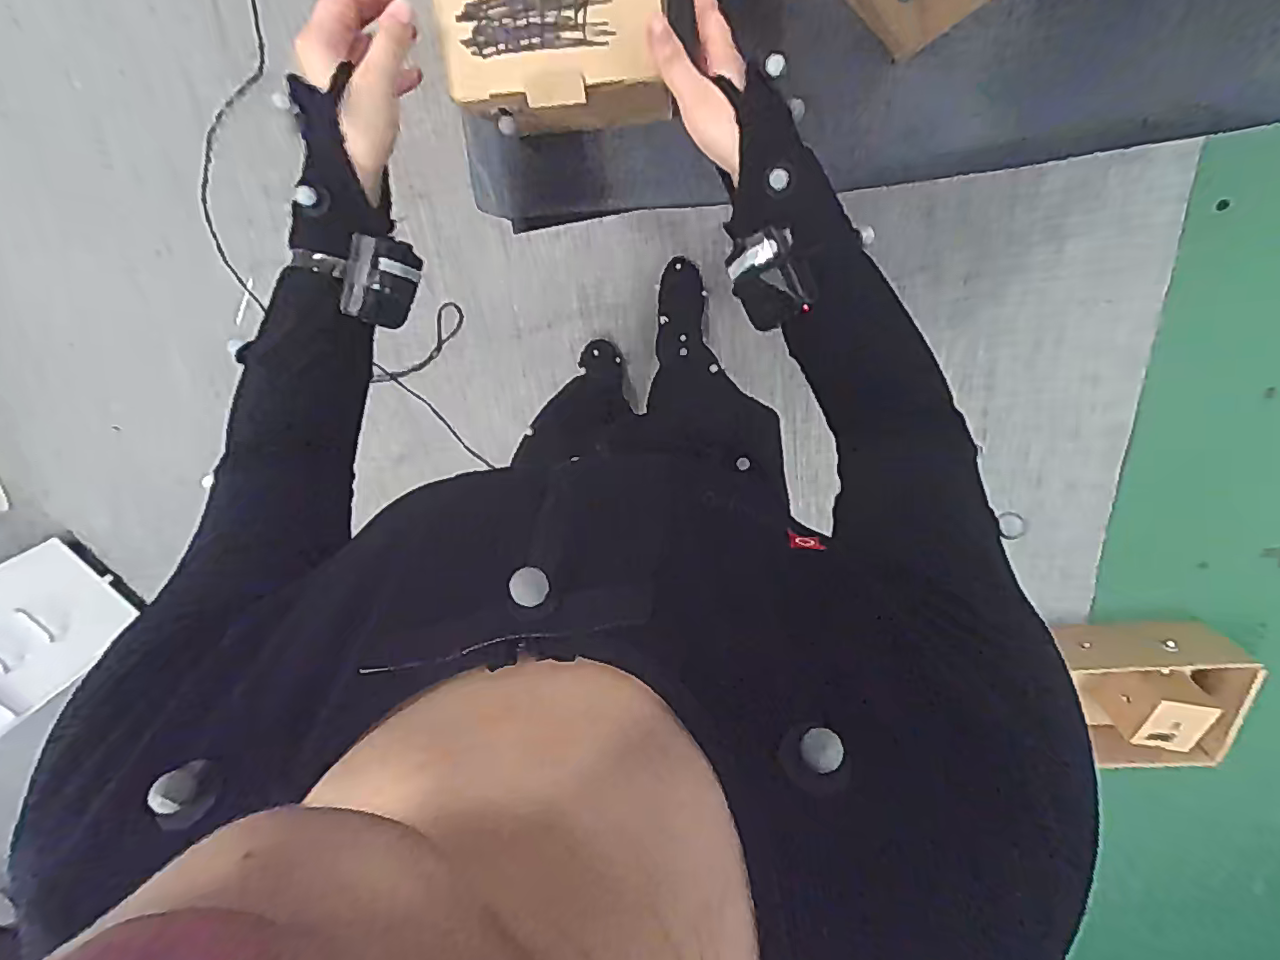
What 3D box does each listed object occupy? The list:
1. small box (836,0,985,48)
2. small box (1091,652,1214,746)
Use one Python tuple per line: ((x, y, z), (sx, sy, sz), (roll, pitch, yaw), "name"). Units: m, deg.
((0.221, -0.462, 0.390), (0.179, 0.176, 0.168), (38, 112, -12), "small box")
((1.476, 0.636, 1.576), (0.168, 0.176, 0.179), (9, 117, 2), "small box")
